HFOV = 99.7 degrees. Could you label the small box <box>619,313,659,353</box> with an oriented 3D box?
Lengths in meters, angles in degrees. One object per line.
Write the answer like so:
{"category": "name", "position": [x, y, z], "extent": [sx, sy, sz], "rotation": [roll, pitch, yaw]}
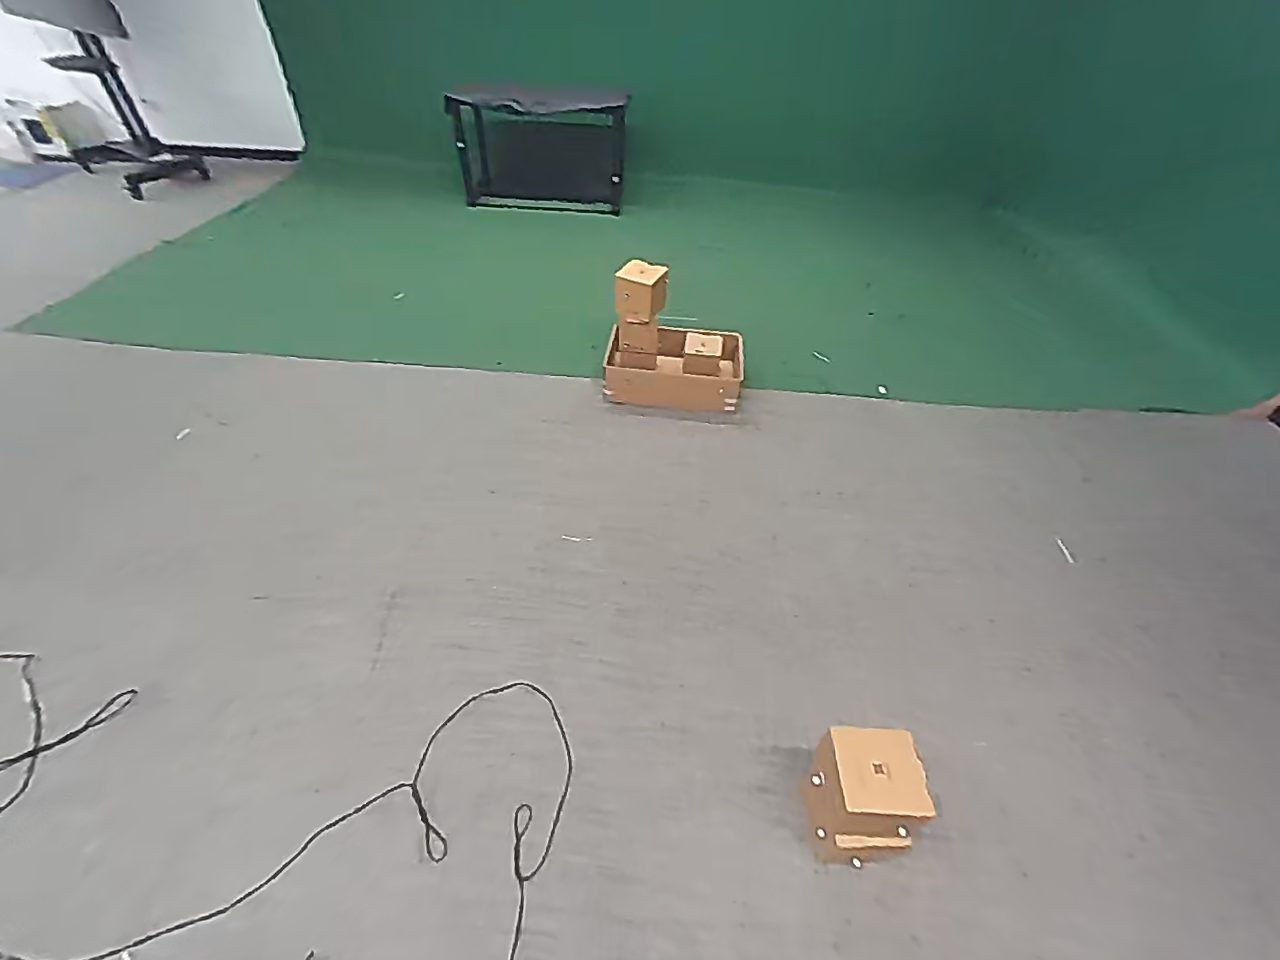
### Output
{"category": "small box", "position": [-0.001, -0.682, 2.397], "extent": [0.168, 0.176, 0.179], "rotation": [6, 44, 1]}

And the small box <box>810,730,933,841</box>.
{"category": "small box", "position": [0.483, 0.655, 1.155], "extent": [0.179, 0.176, 0.168], "rotation": [2, 43, 1]}

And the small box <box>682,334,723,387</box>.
{"category": "small box", "position": [0.290, -0.559, 2.525], "extent": [0.168, 0.176, 0.179], "rotation": [8, 46, 6]}

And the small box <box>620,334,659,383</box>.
{"category": "small box", "position": [-0.002, -0.573, 2.520], "extent": [0.168, 0.176, 0.179], "rotation": [4, 45, 1]}

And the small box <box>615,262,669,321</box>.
{"category": "small box", "position": [0.008, -0.792, 2.276], "extent": [0.168, 0.176, 0.179], "rotation": [22, 47, 17]}
